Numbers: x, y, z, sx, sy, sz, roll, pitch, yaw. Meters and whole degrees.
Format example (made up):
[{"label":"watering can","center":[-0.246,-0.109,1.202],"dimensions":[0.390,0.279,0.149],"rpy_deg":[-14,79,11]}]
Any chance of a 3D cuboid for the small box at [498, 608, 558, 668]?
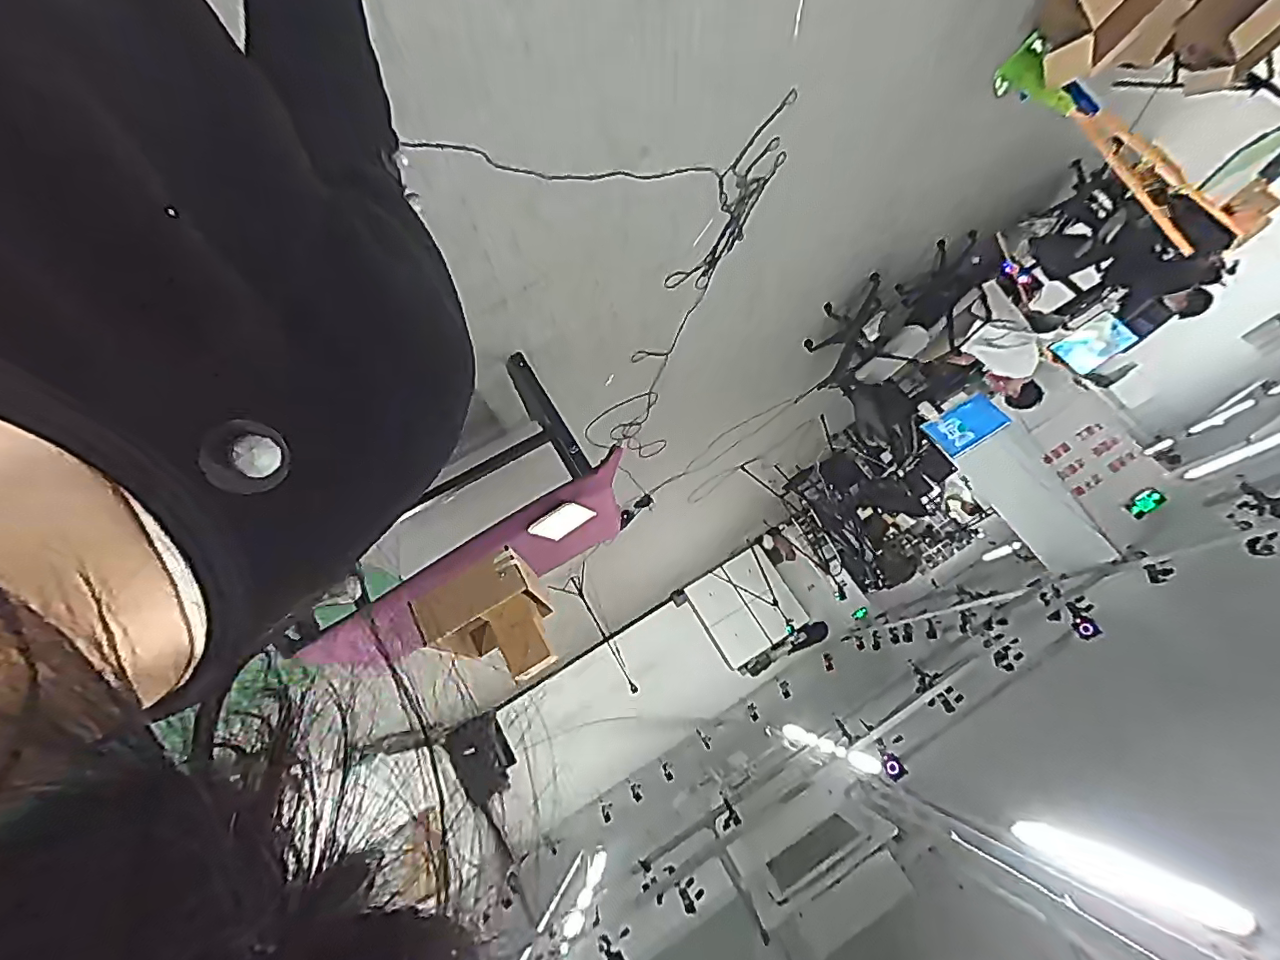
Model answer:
[{"label":"small box","center":[-0.468,0.651,2.229],"dimensions":[0.179,0.176,0.168],"rpy_deg":[-31,161,-7]}]
